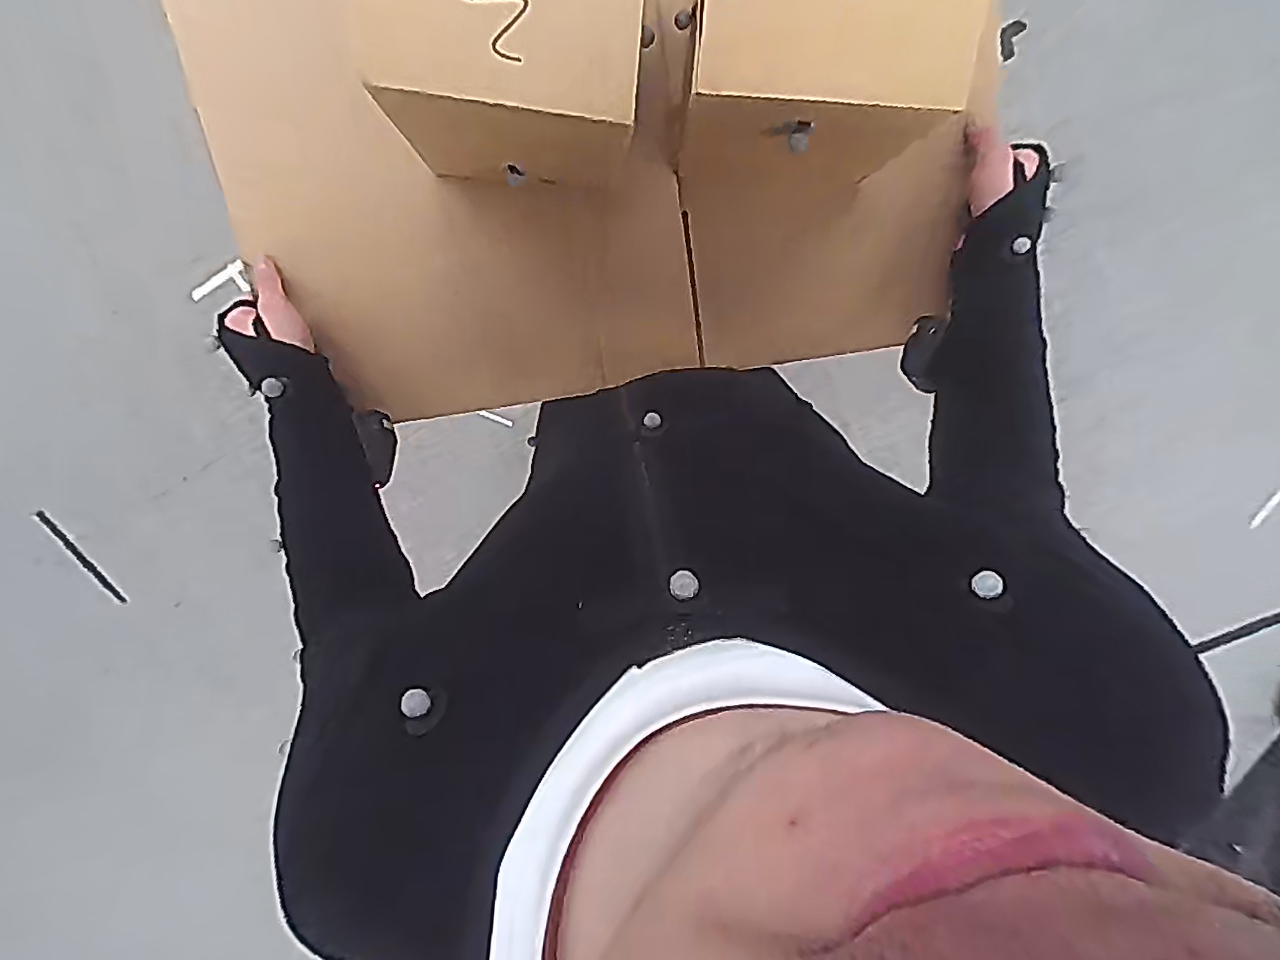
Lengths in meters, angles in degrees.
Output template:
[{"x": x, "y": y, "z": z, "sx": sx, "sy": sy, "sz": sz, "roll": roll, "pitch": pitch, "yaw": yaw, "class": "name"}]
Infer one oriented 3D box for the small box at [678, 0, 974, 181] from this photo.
[{"x": 0.127, "y": -0.344, "z": 0.413, "sx": 0.179, "sy": 0.176, "sz": 0.168, "roll": 4, "pitch": 104, "yaw": 0, "class": "small box"}]
